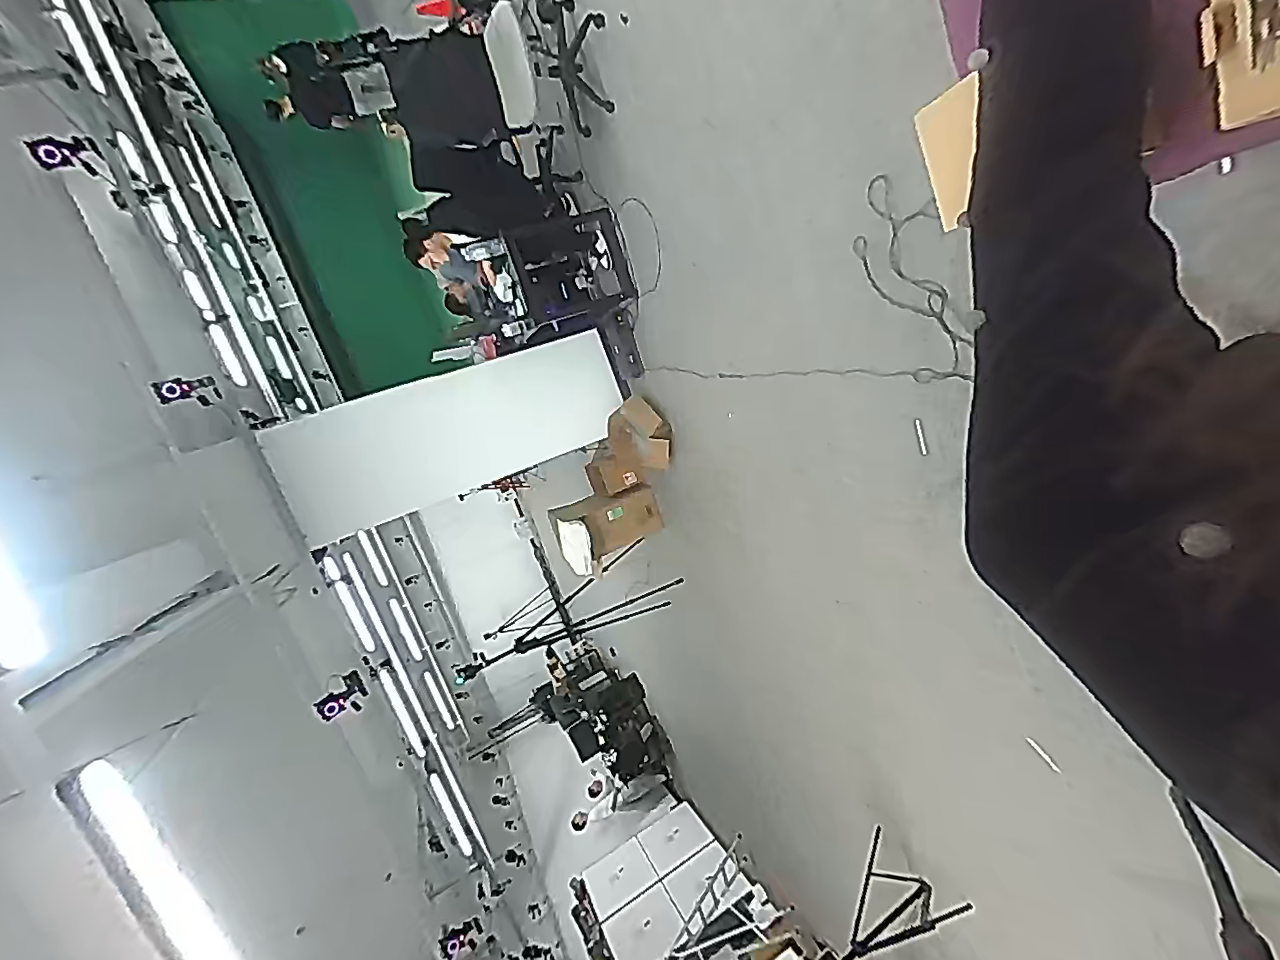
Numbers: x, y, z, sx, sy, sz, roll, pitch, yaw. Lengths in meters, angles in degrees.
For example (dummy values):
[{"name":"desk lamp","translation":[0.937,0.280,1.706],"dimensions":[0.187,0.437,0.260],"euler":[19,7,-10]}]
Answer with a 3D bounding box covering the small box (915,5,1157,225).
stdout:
[{"name":"small box","translation":[0.501,-0.457,0.695],"dimensions":[0.179,0.176,0.168],"euler":[-1,111,67]}]
